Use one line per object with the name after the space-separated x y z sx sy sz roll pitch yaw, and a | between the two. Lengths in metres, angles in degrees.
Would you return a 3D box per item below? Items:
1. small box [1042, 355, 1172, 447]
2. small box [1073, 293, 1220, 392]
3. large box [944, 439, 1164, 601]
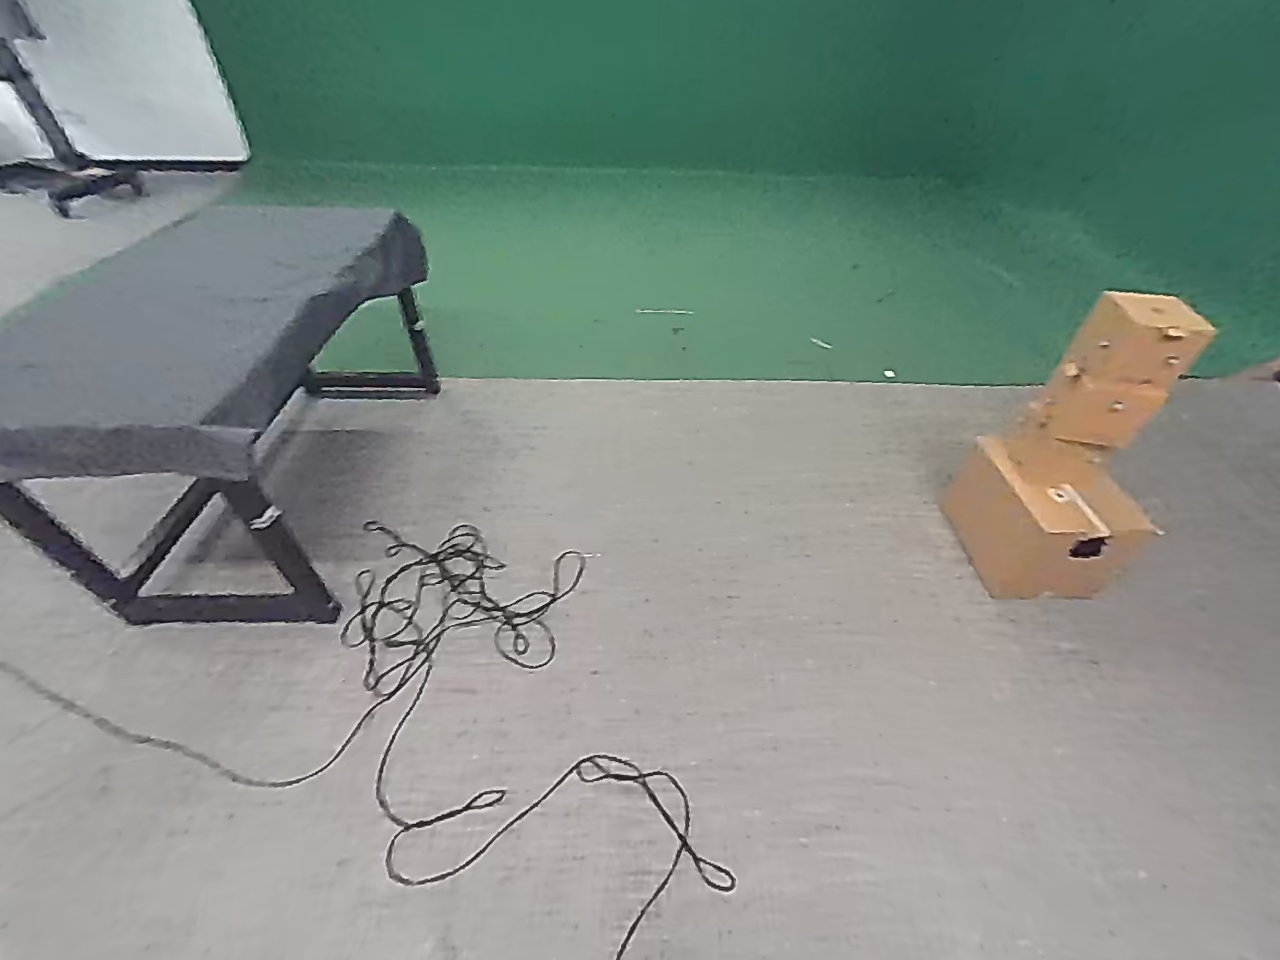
1.210 -0.206 1.417 0.179 0.176 0.168 9 45 9 | small box
1.213 -0.333 1.314 0.168 0.176 0.179 8 44 6 | small box
1.223 0.119 1.665 0.320 0.320 0.408 -1 45 -1 | large box
